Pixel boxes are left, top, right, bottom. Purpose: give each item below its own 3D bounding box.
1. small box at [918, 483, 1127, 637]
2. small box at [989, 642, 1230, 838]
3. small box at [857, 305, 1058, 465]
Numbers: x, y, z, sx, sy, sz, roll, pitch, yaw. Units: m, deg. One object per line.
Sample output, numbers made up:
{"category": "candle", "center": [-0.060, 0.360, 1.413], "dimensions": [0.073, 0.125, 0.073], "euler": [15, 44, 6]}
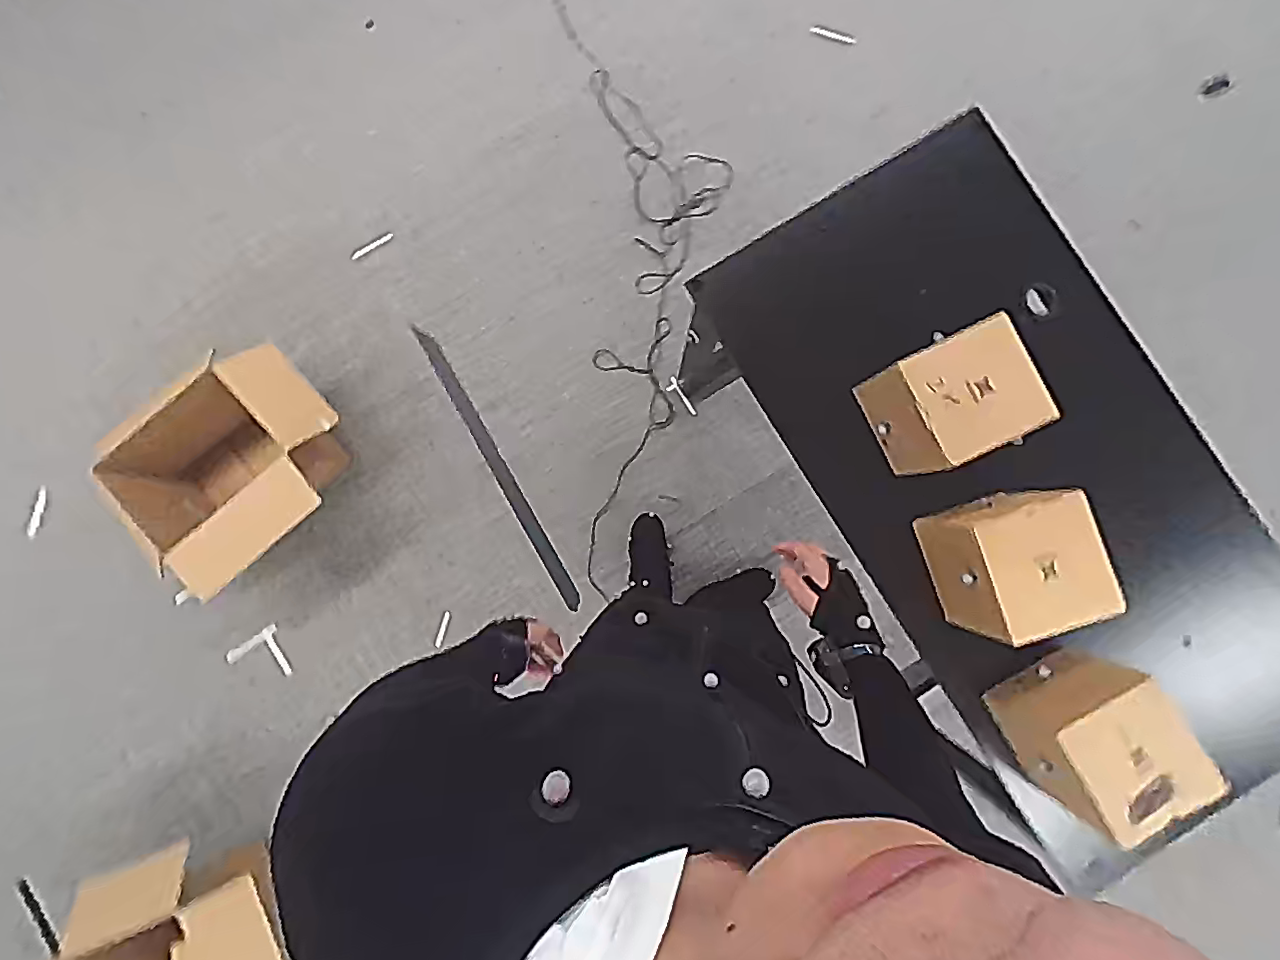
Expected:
{"category": "small box", "center": [0.562, 0.112, 0.820], "dimensions": [0.168, 0.176, 0.179], "euler": [-19, 87, -1]}
{"category": "small box", "center": [0.675, 0.368, 0.802], "dimensions": [0.168, 0.176, 0.179], "euler": [-30, 86, -1]}
{"category": "small box", "center": [0.472, -0.135, 0.832], "dimensions": [0.179, 0.176, 0.168], "euler": [-26, 87, 0]}
